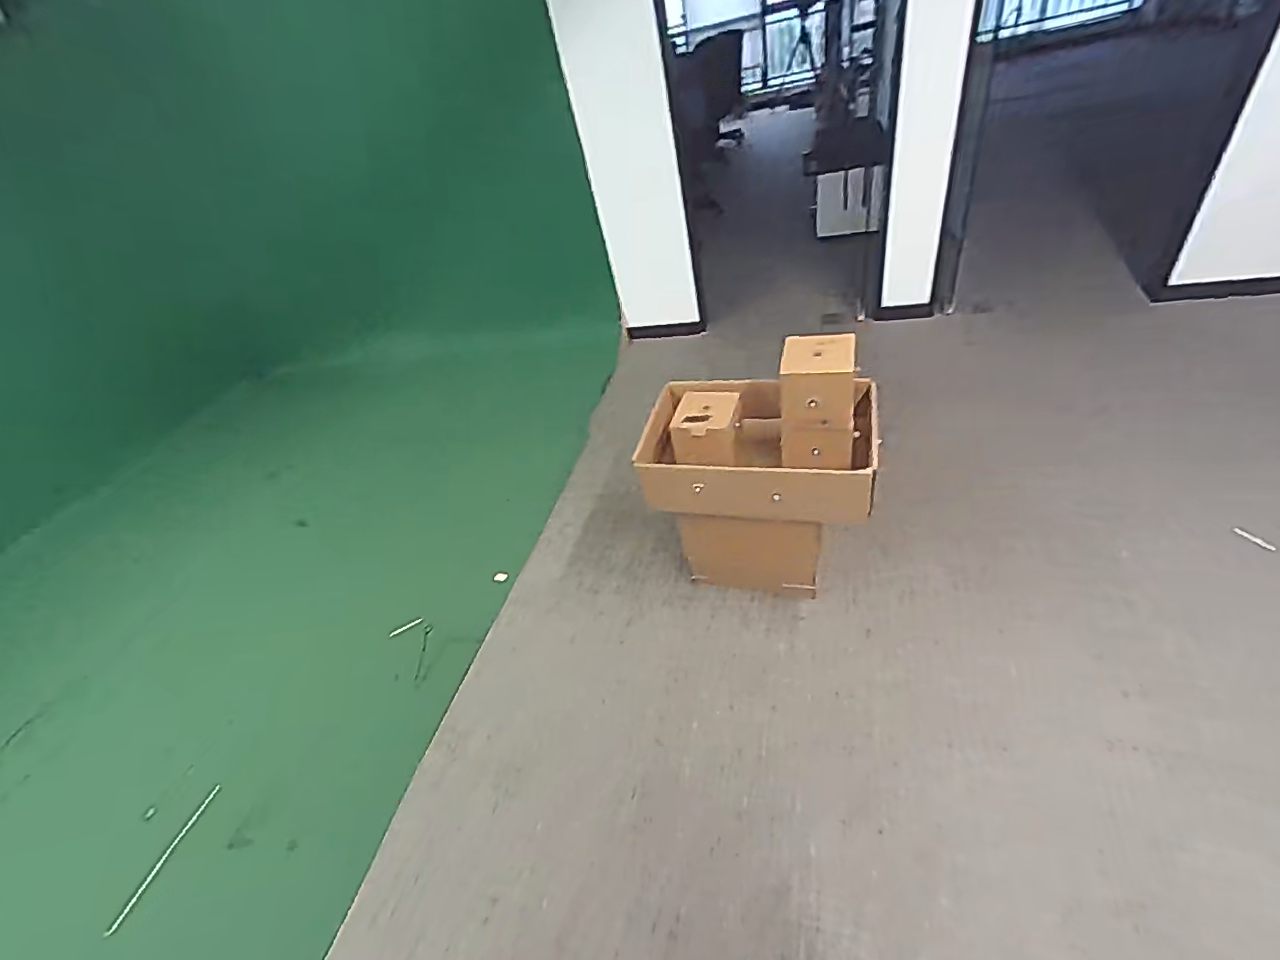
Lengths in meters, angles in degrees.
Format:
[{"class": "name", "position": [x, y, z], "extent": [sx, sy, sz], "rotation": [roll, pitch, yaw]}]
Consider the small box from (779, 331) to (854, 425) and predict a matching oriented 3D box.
[{"class": "small box", "position": [0.446, -0.252, 1.356], "extent": [0.168, 0.176, 0.179], "rotation": [3, 44, 20]}]
